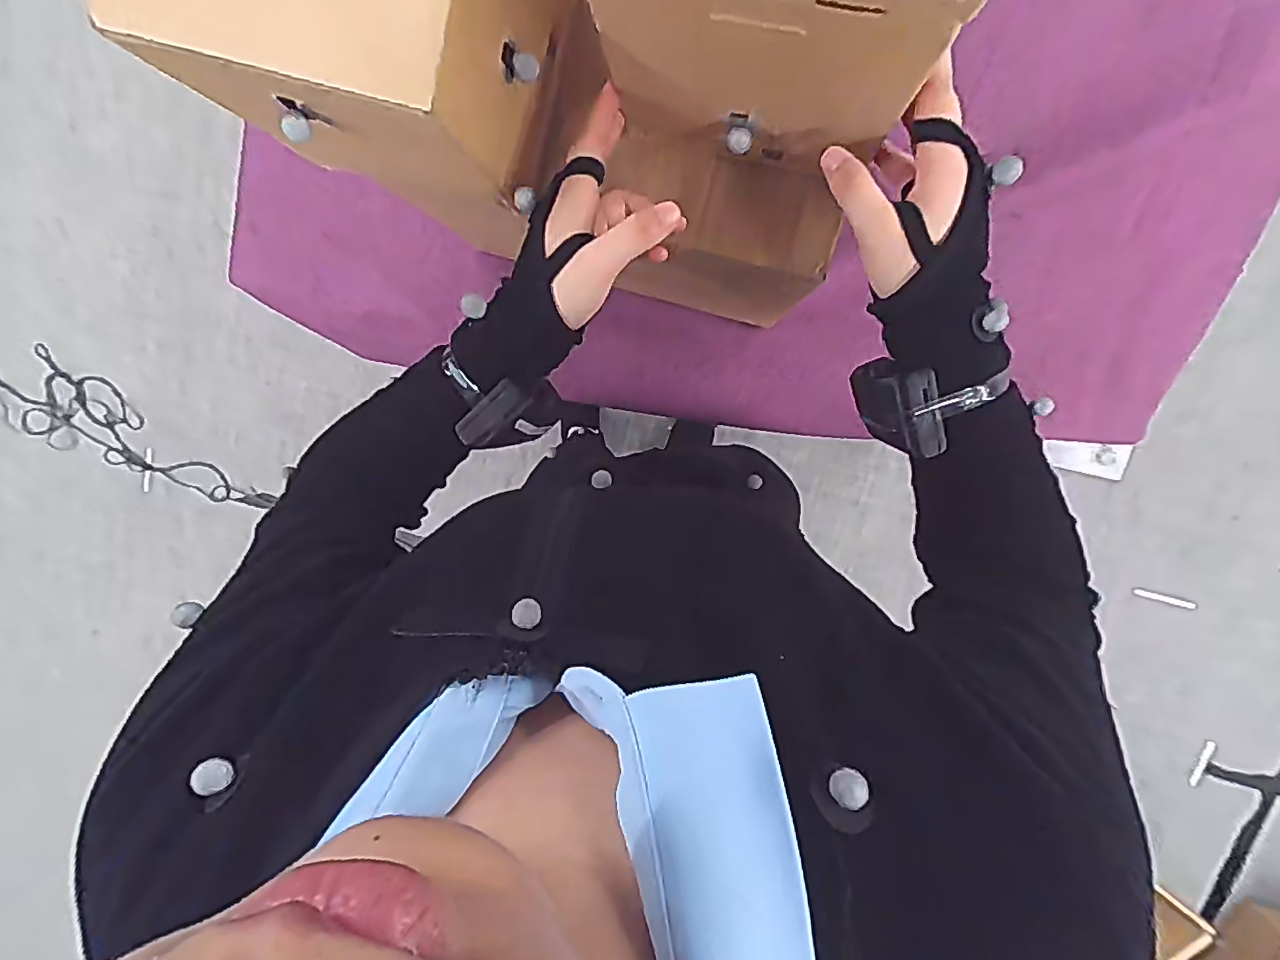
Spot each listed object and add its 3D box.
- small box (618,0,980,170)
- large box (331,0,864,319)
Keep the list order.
[{"bbox_3d":[0.084,-0.298,0.278,0.168,0.176,0.179,15,100,5],"label":"small box"},{"bbox_3d":[0.001,-0.368,0.527,0.408,0.320,0.320,15,99,4],"label":"large box"}]
